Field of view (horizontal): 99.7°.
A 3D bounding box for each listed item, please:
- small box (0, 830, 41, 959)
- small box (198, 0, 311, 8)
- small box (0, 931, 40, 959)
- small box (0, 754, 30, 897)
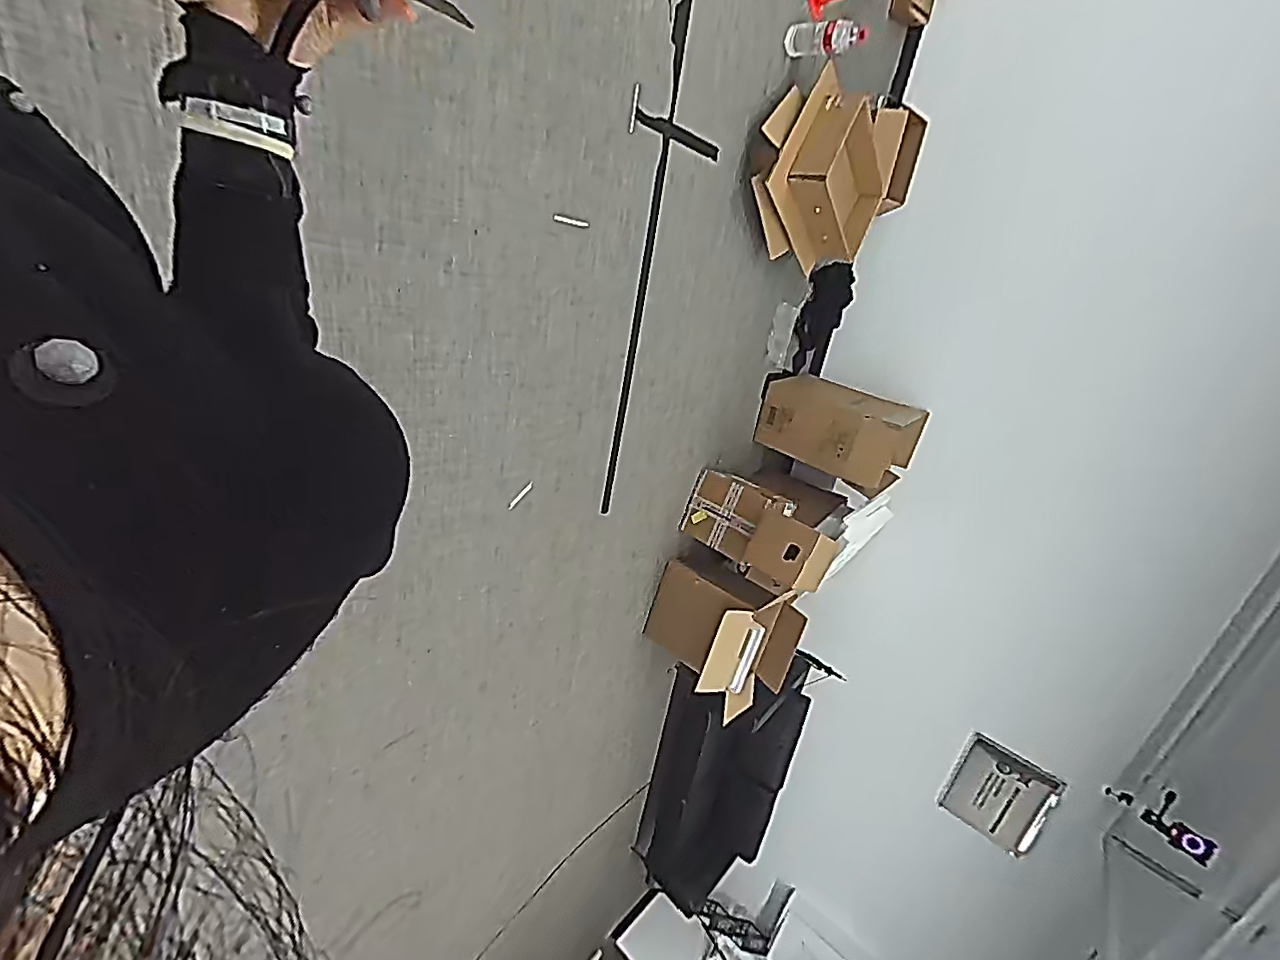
[{"bbox_3d":[-0.870,0.575,0.659,0.168,0.176,0.179,-13,122,-49],"label":"small box"},{"bbox_3d":[-0.166,-0.341,0.257,0.179,0.176,0.168,-31,140,-23],"label":"small box"},{"bbox_3d":[-0.750,0.641,0.571,0.168,0.176,0.179,-12,123,-48],"label":"small box"},{"bbox_3d":[-0.990,0.517,0.753,0.168,0.176,0.179,-9,118,-50],"label":"small box"}]
